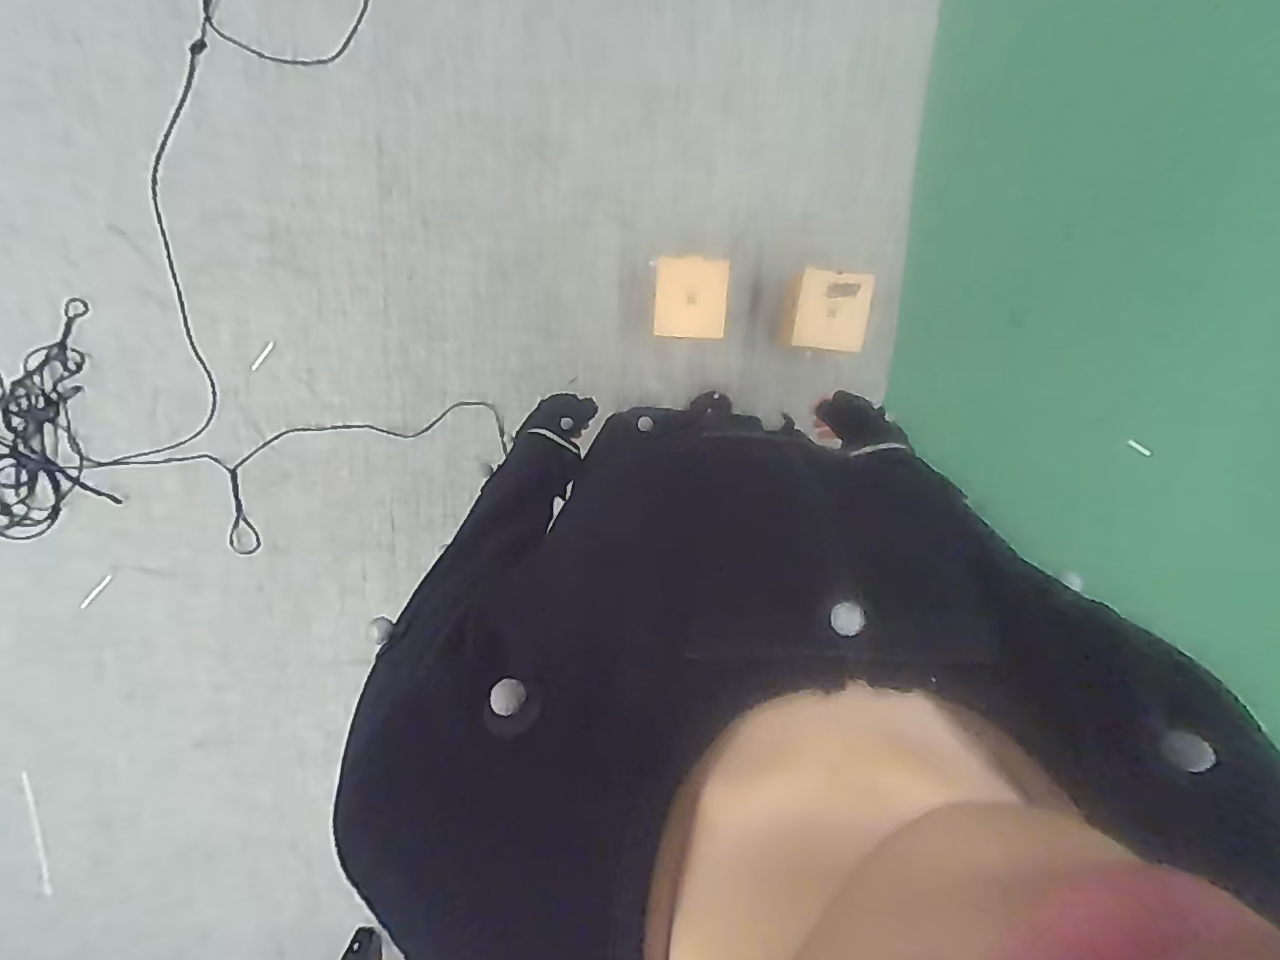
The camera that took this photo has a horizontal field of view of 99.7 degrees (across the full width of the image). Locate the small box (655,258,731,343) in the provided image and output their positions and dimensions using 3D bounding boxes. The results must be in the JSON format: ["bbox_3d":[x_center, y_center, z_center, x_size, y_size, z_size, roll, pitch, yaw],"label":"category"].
[{"bbox_3d":[0.123,-0.429,1.317,0.168,0.176,0.179,3,100,0],"label":"small box"}]

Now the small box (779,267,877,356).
[{"bbox_3d":[0.448,-0.402,1.315,0.168,0.176,0.179,7,101,0],"label":"small box"}]
